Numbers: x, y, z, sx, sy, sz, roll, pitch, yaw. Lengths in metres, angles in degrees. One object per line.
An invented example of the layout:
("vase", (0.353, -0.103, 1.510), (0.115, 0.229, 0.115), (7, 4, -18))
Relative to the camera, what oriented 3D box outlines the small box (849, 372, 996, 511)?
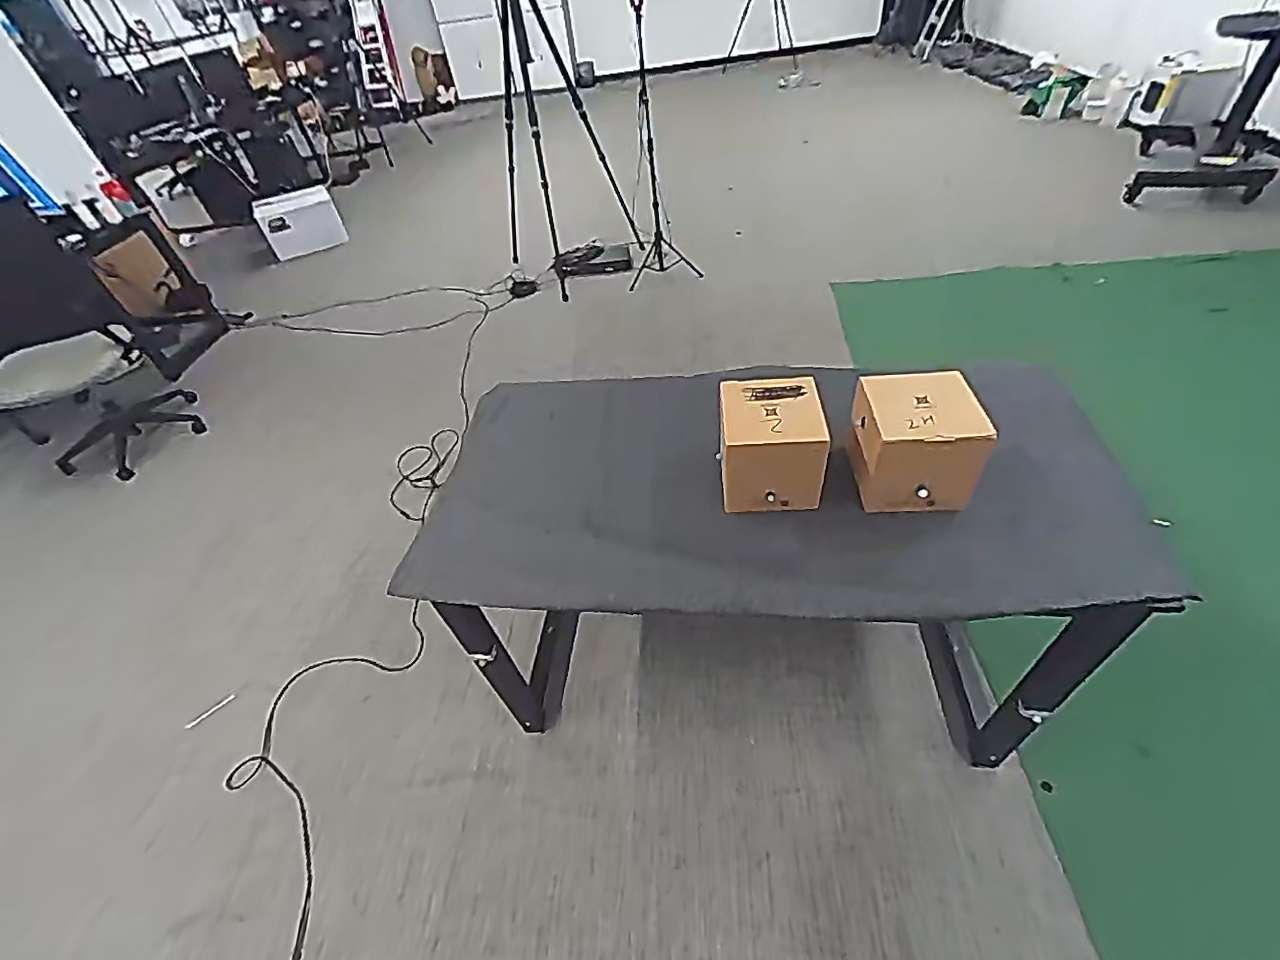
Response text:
("small box", (0.470, -0.065, 0.935), (0.168, 0.176, 0.179), (-2, 45, 8))
